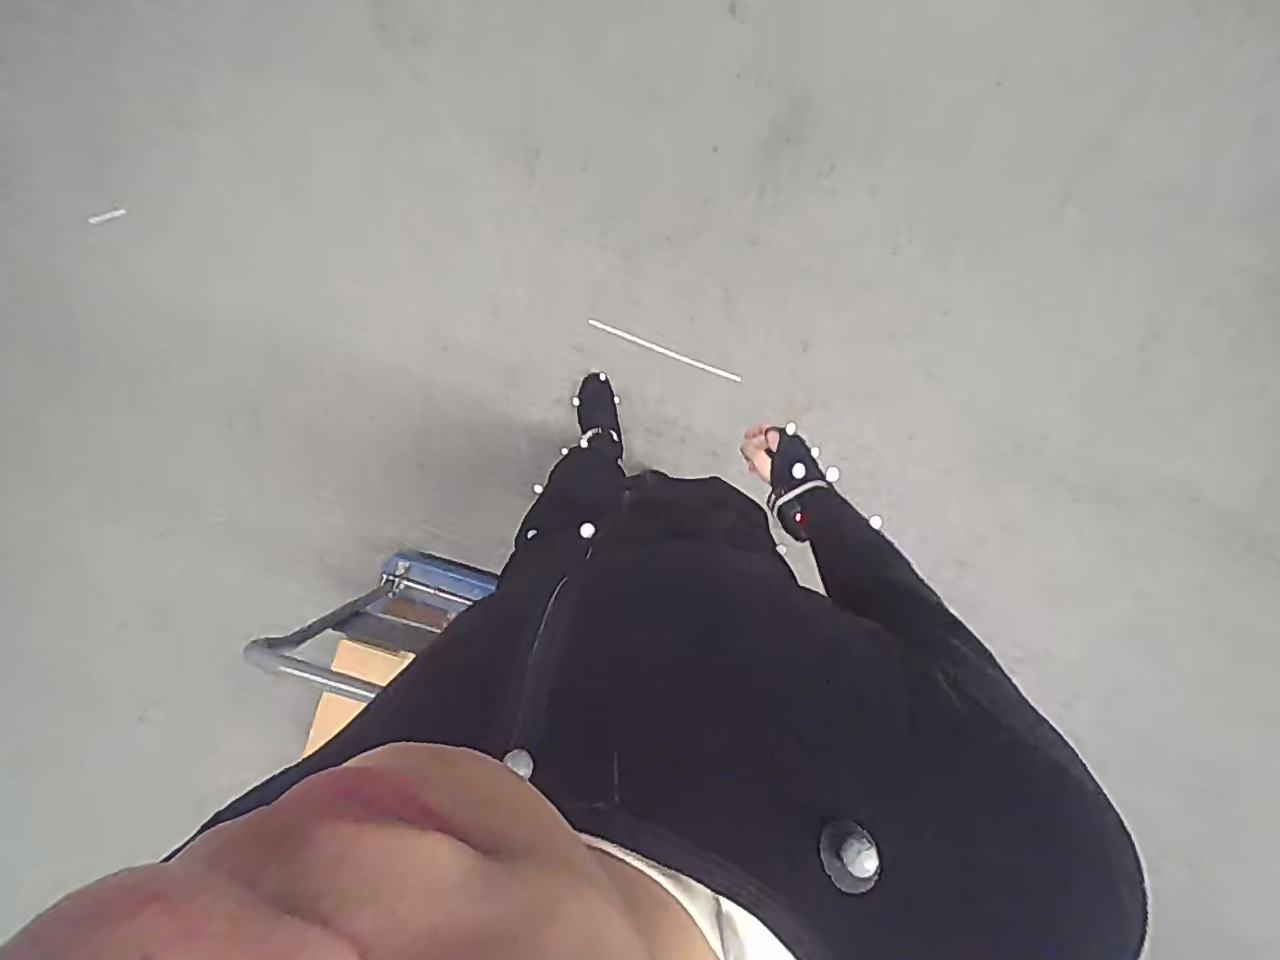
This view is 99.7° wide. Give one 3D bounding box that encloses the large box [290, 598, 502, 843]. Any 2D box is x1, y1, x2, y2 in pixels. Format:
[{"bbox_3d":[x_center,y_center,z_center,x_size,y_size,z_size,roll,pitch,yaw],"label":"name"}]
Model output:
[{"bbox_3d":[-0.559,0.553,1.309,0.320,0.320,0.408,19,93,-5],"label":"large box"}]
